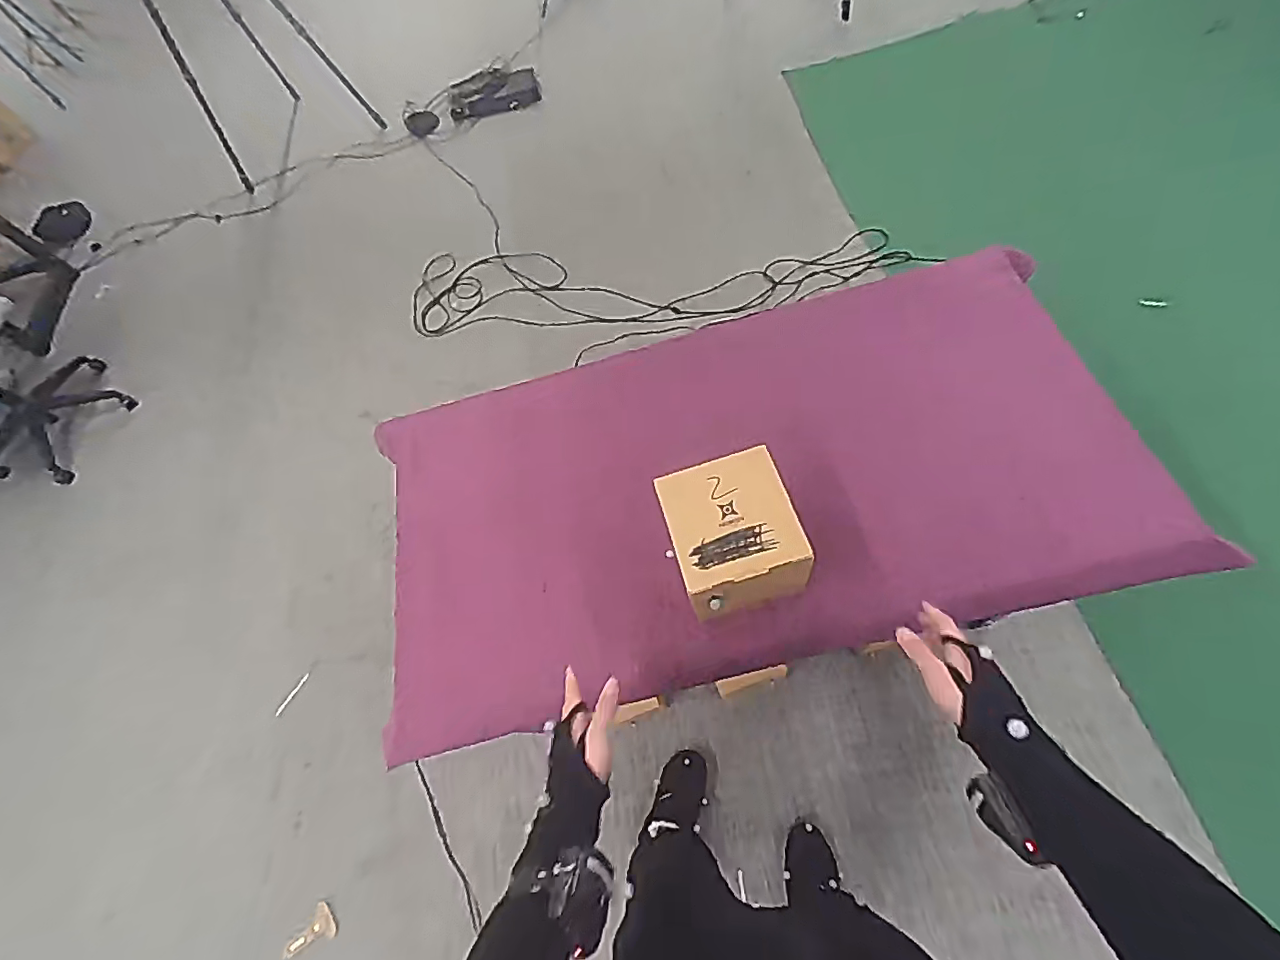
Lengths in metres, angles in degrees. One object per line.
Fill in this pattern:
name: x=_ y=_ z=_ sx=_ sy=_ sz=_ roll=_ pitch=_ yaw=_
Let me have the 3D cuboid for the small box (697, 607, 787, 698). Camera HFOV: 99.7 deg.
small box: x=0.259 y=0.447 z=1.390 sx=0.179 sy=0.176 sz=0.168 roll=-21 pitch=61 yaw=1

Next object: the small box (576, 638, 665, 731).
small box: x=-0.046 y=0.533 z=1.404 sx=0.168 sy=0.176 sz=0.179 roll=-22 pitch=62 yaw=-1

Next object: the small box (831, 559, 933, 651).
small box: x=0.609 y=0.328 z=1.381 sx=0.168 sy=0.176 sz=0.179 roll=-17 pitch=61 yaw=2
